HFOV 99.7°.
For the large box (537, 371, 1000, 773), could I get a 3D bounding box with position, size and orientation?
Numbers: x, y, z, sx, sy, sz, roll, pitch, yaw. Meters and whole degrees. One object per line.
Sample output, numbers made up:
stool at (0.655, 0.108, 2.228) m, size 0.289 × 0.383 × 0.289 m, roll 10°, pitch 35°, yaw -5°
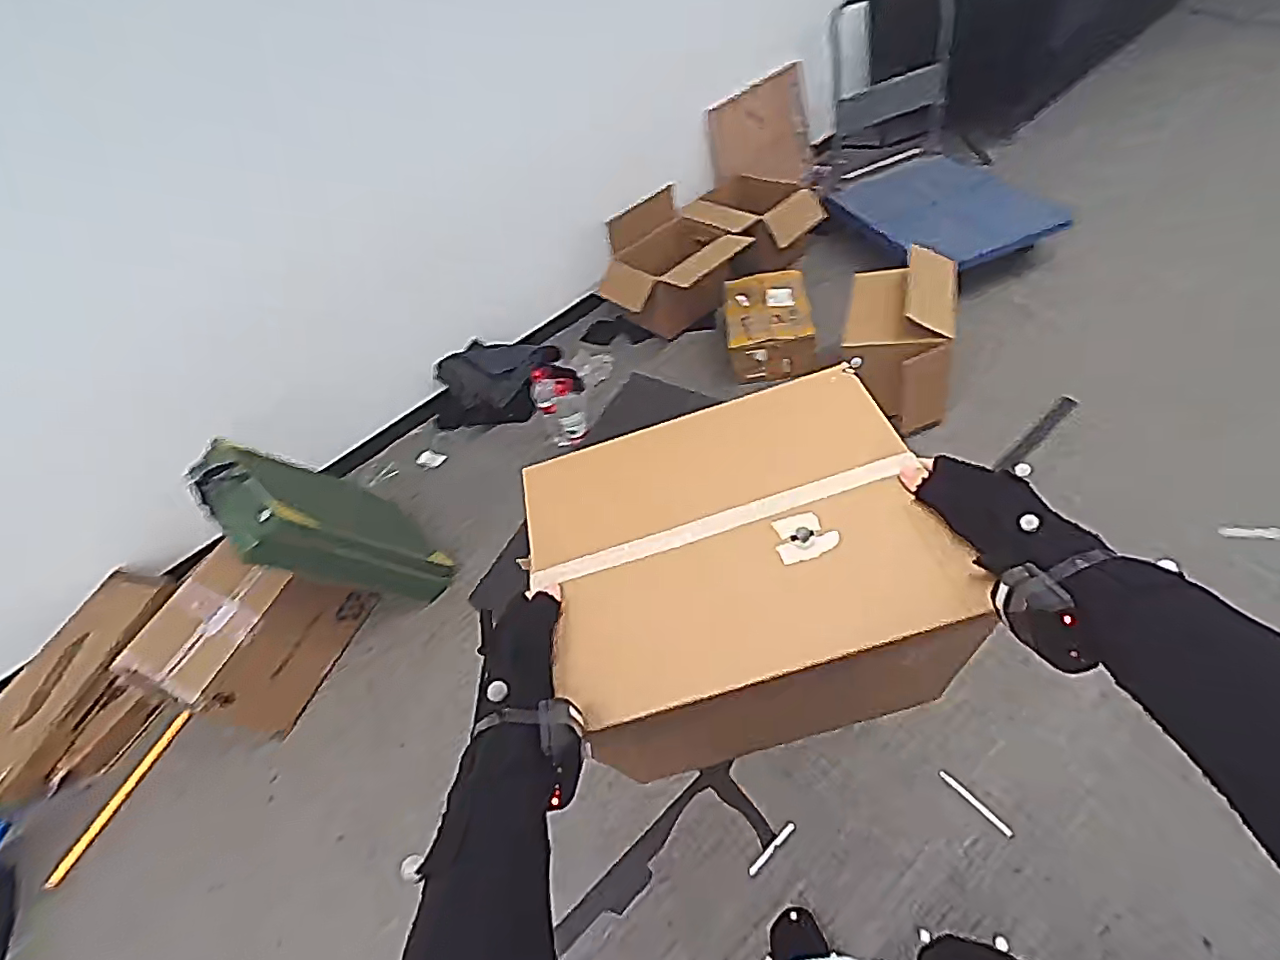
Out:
large box at (0.124, 0.129, 0.680) m, size 0.408 × 0.320 × 0.320 m, roll -17°, pitch 53°, yaw 2°
